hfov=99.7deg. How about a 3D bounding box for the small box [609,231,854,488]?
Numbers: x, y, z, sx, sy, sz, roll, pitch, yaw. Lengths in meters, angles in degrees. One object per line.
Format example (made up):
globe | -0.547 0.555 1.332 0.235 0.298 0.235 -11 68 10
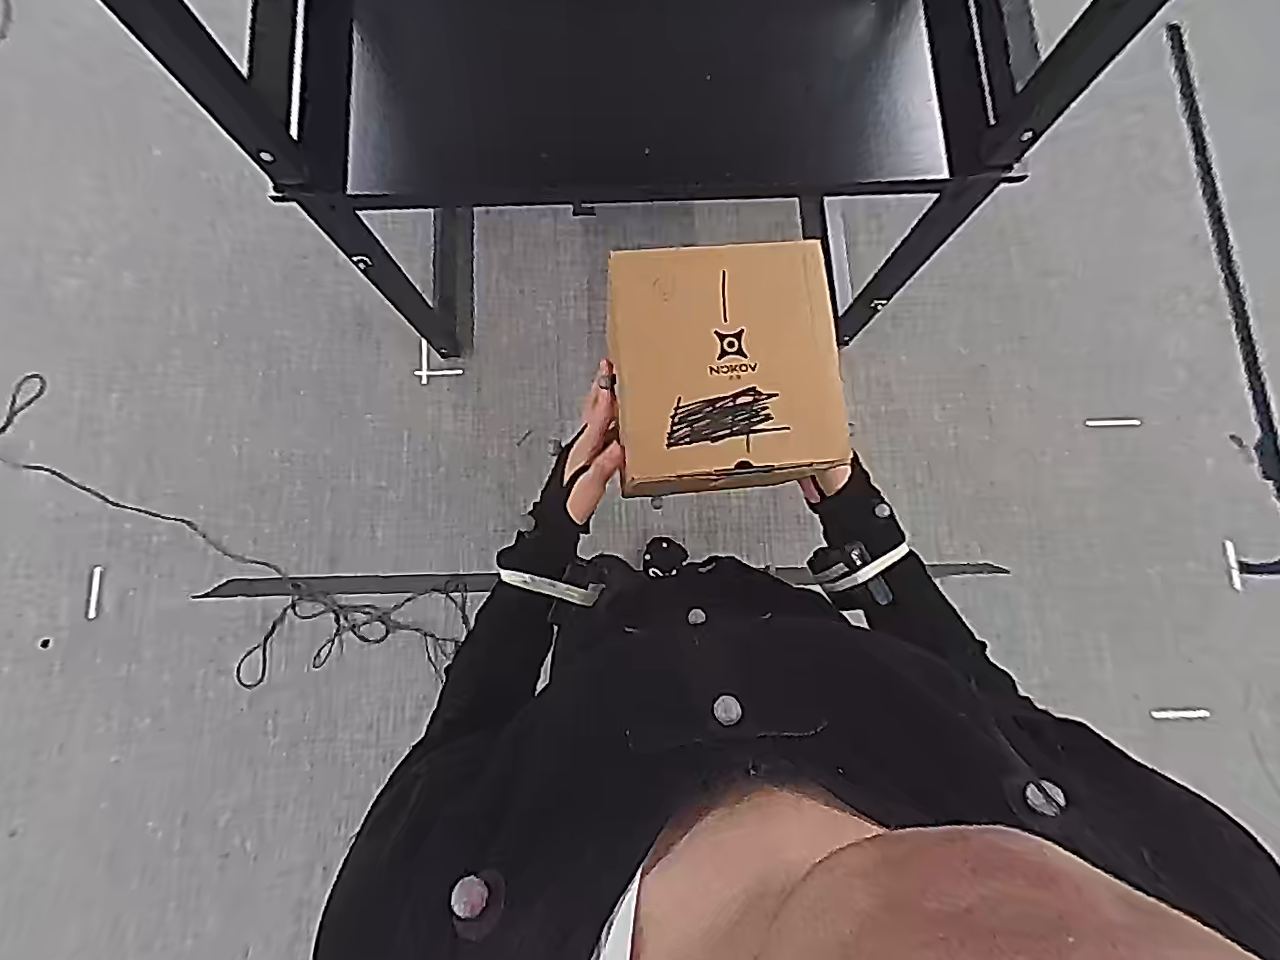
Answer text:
small box | 0.062 -0.088 0.475 0.168 0.176 0.179 -6 83 -5
